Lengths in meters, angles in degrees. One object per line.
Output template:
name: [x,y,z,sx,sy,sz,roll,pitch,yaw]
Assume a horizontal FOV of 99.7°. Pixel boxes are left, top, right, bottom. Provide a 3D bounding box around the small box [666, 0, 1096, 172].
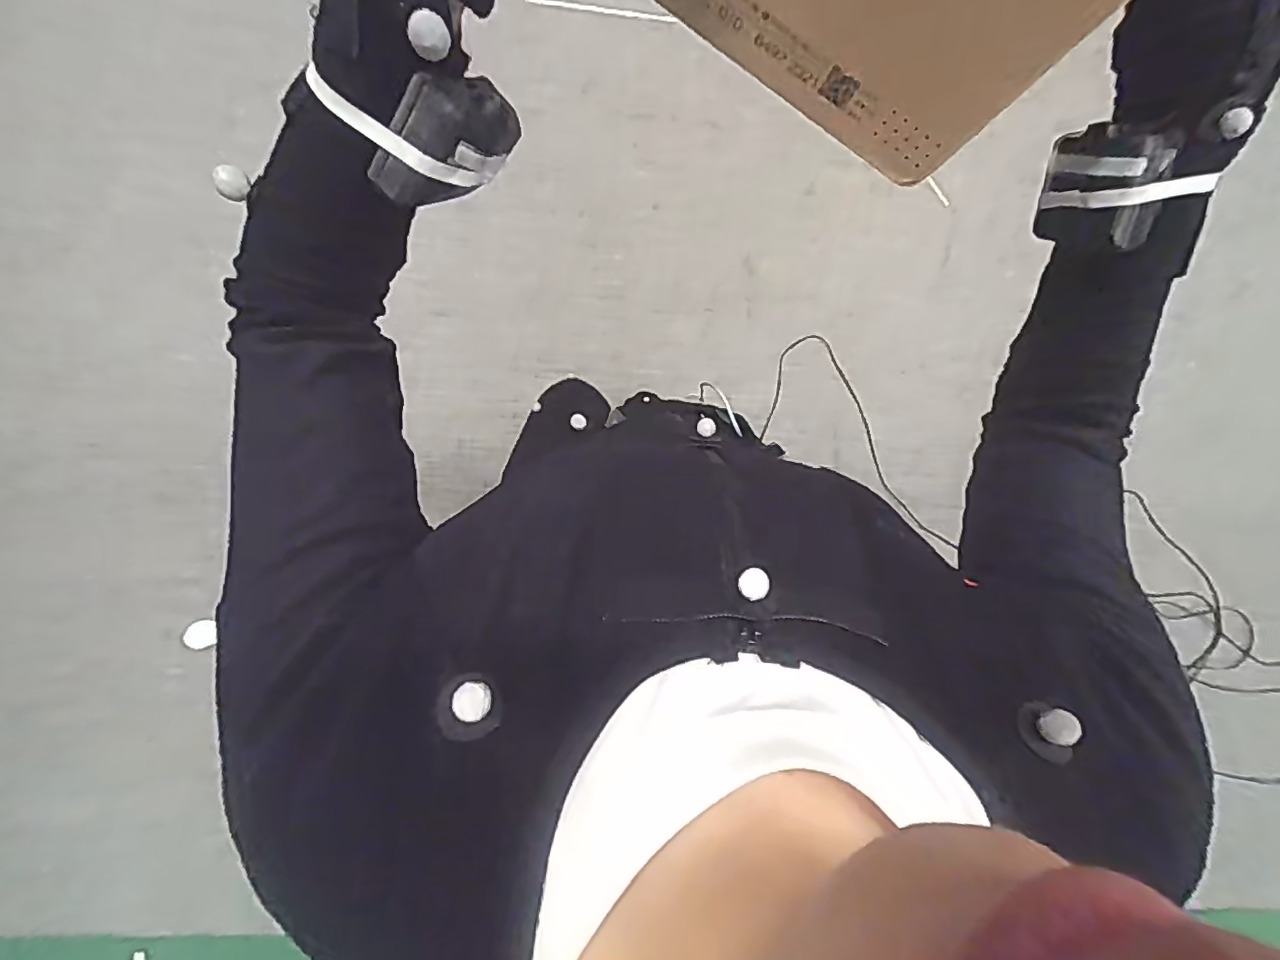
small box: [0.128,-0.278,0.213,0.168,0.176,0.179,31,75,-8]
